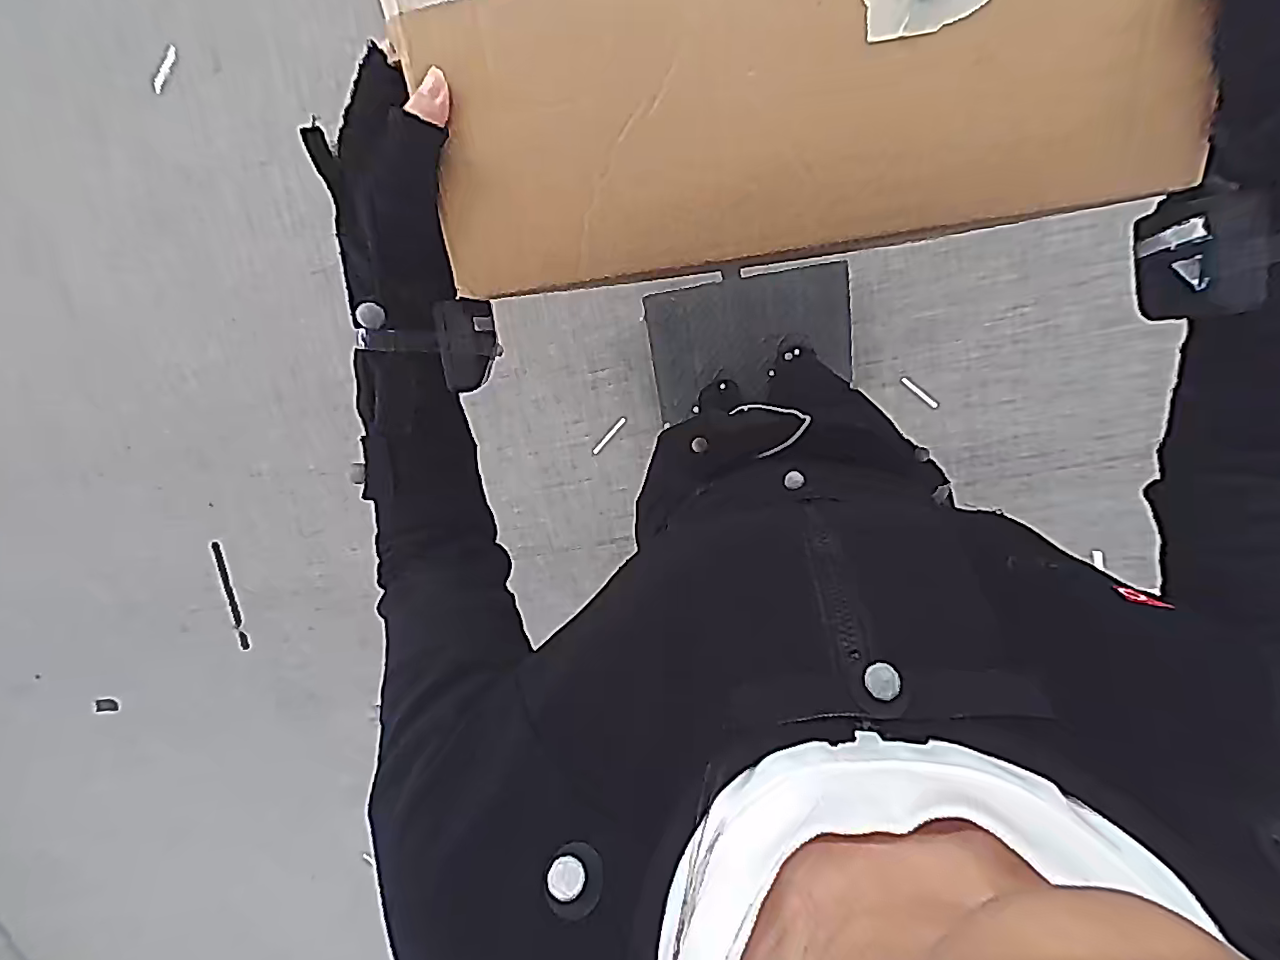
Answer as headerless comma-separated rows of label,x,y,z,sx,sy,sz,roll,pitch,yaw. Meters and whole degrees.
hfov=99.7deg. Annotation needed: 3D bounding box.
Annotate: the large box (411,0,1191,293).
large box,0.079,-0.336,0.412,0.408,0.320,0.320,-6,110,8
